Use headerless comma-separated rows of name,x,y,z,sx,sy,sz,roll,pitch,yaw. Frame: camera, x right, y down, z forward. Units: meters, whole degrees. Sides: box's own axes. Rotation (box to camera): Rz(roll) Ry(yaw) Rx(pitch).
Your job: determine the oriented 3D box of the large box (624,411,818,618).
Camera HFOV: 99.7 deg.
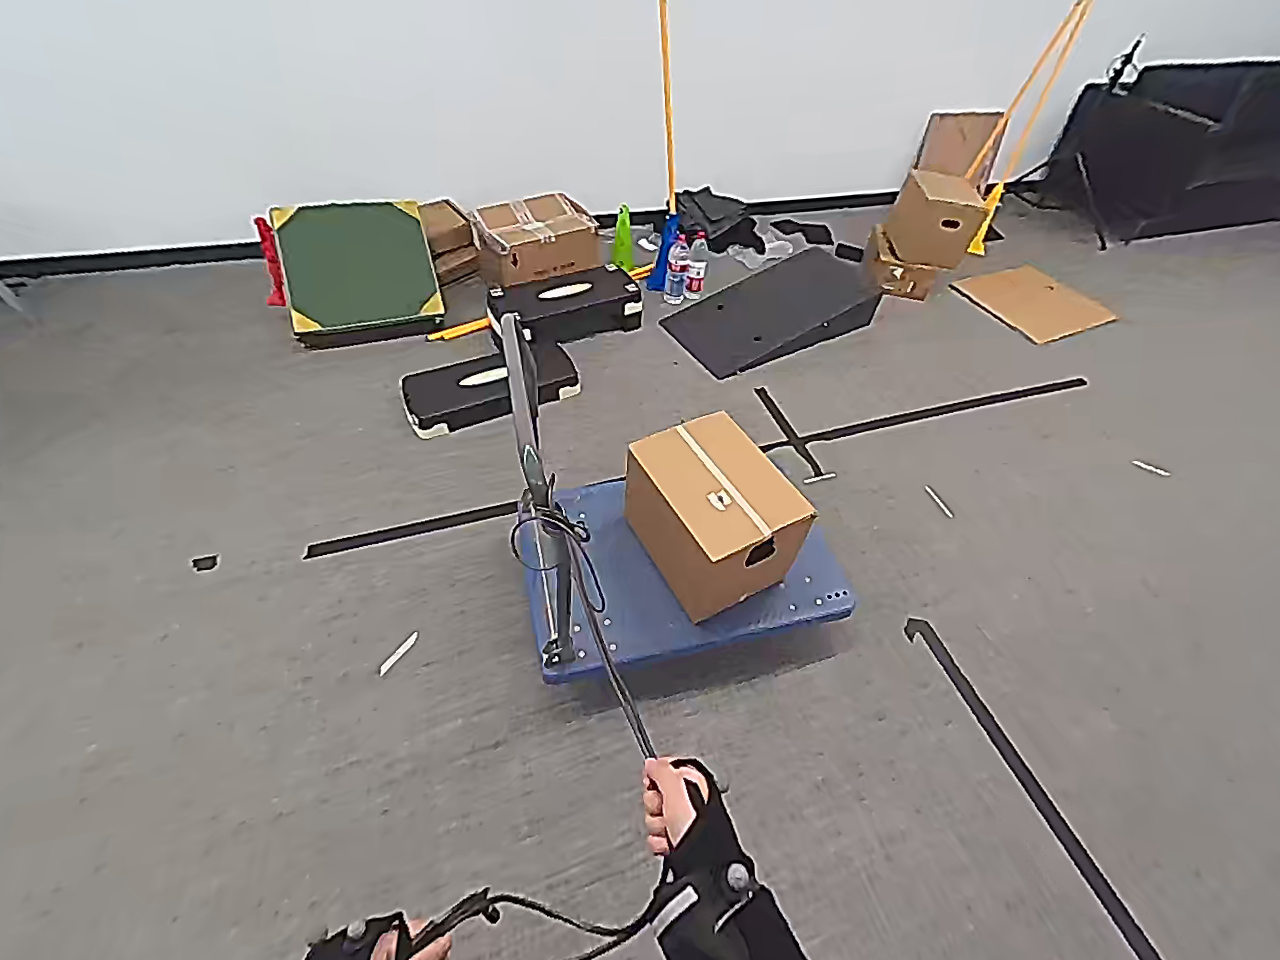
large box,0.188,0.087,1.459,0.320,0.320,0.408,-22,56,-20
